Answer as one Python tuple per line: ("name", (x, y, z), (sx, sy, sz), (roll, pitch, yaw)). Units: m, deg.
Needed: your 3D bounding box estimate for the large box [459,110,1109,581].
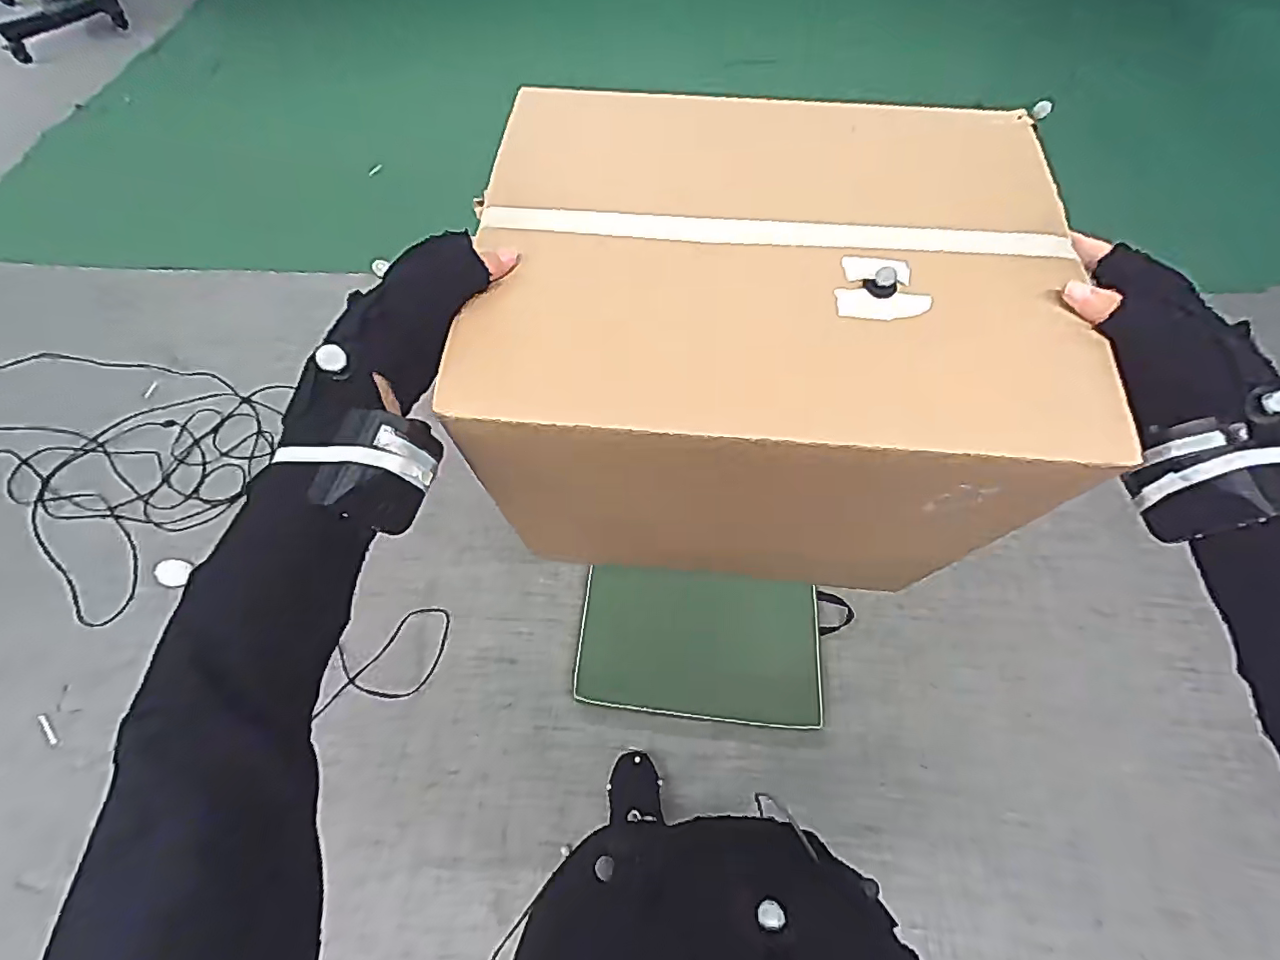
("large box", (0.091, -0.100, 0.523), (0.408, 0.320, 0.320), (4, 66, 1))
